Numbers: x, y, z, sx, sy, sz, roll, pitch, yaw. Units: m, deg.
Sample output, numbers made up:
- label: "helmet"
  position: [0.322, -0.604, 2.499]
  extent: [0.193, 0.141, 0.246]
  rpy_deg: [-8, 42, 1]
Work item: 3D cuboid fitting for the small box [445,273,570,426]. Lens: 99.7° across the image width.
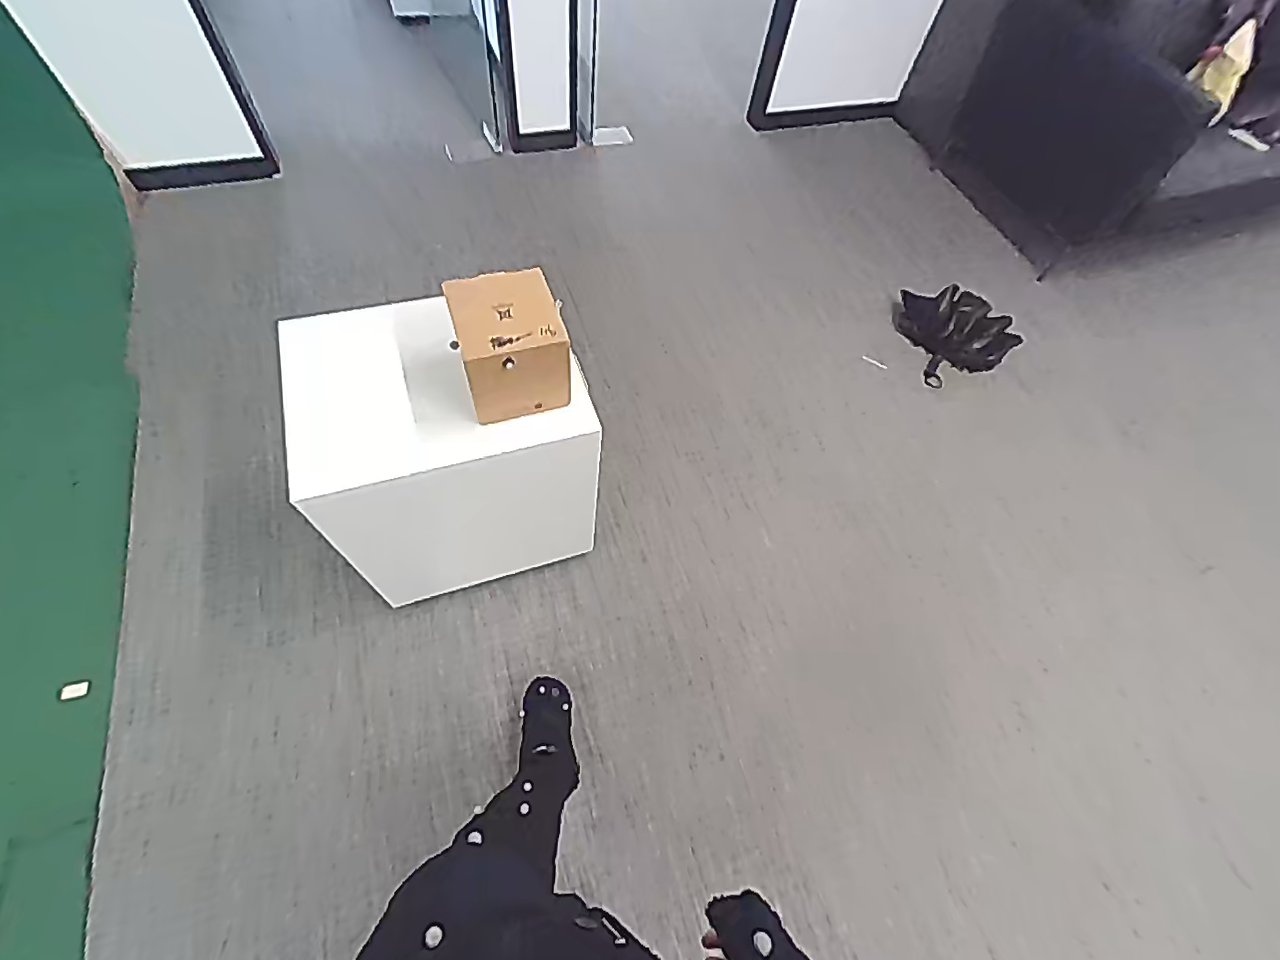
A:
- label: "small box"
  position: [-0.223, -0.221, 0.931]
  extent: [0.168, 0.176, 0.179]
  rpy_deg: [-16, 62, -14]
